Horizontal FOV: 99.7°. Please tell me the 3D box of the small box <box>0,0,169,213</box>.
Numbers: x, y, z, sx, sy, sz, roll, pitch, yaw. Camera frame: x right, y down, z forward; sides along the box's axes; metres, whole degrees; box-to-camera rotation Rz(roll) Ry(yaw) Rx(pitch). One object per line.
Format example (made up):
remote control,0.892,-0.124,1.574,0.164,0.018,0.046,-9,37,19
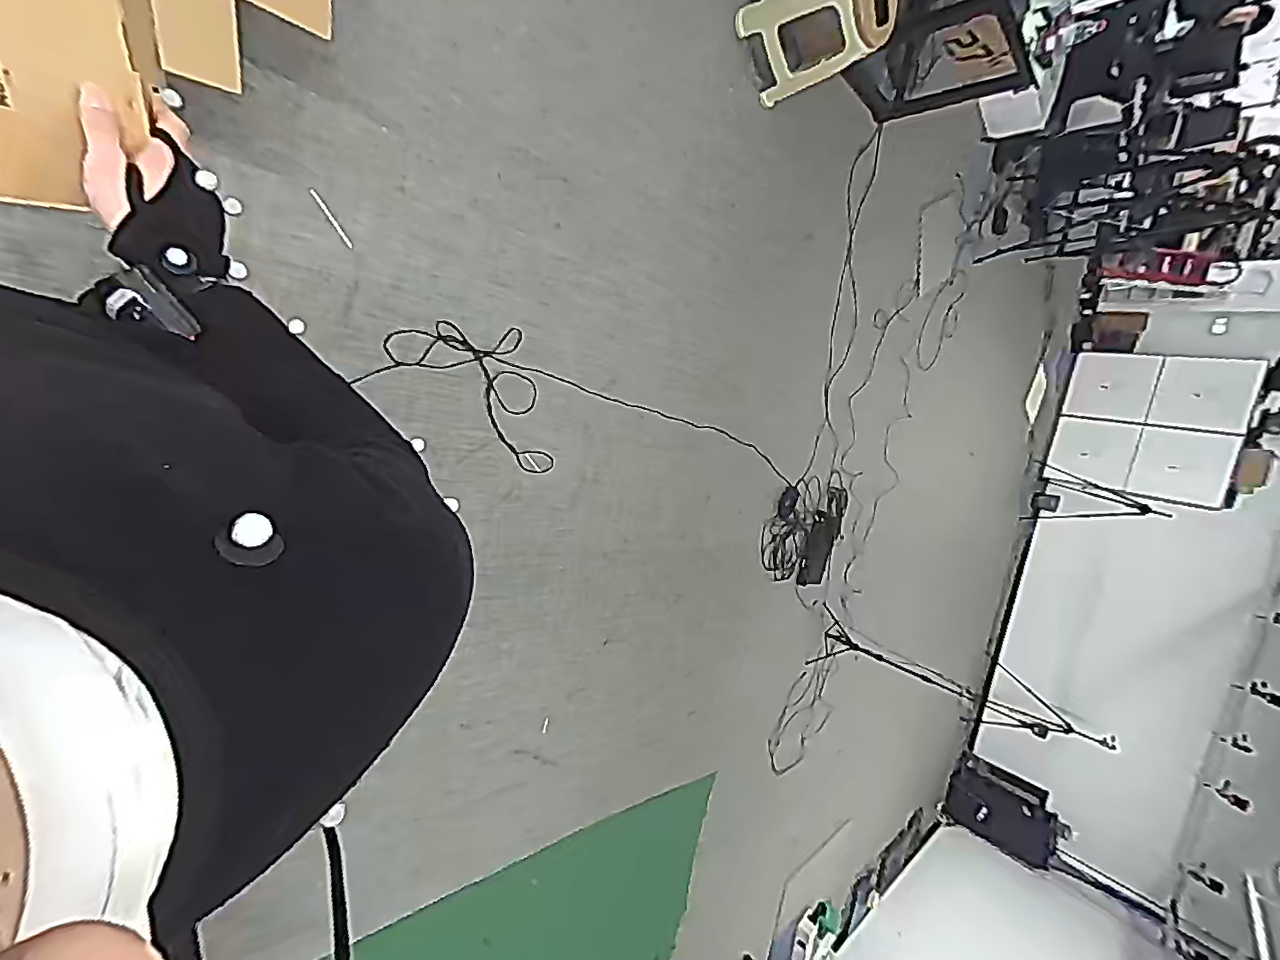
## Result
small box,-0.494,-0.330,0.421,0.179,0.176,0.168,-6,129,-33
